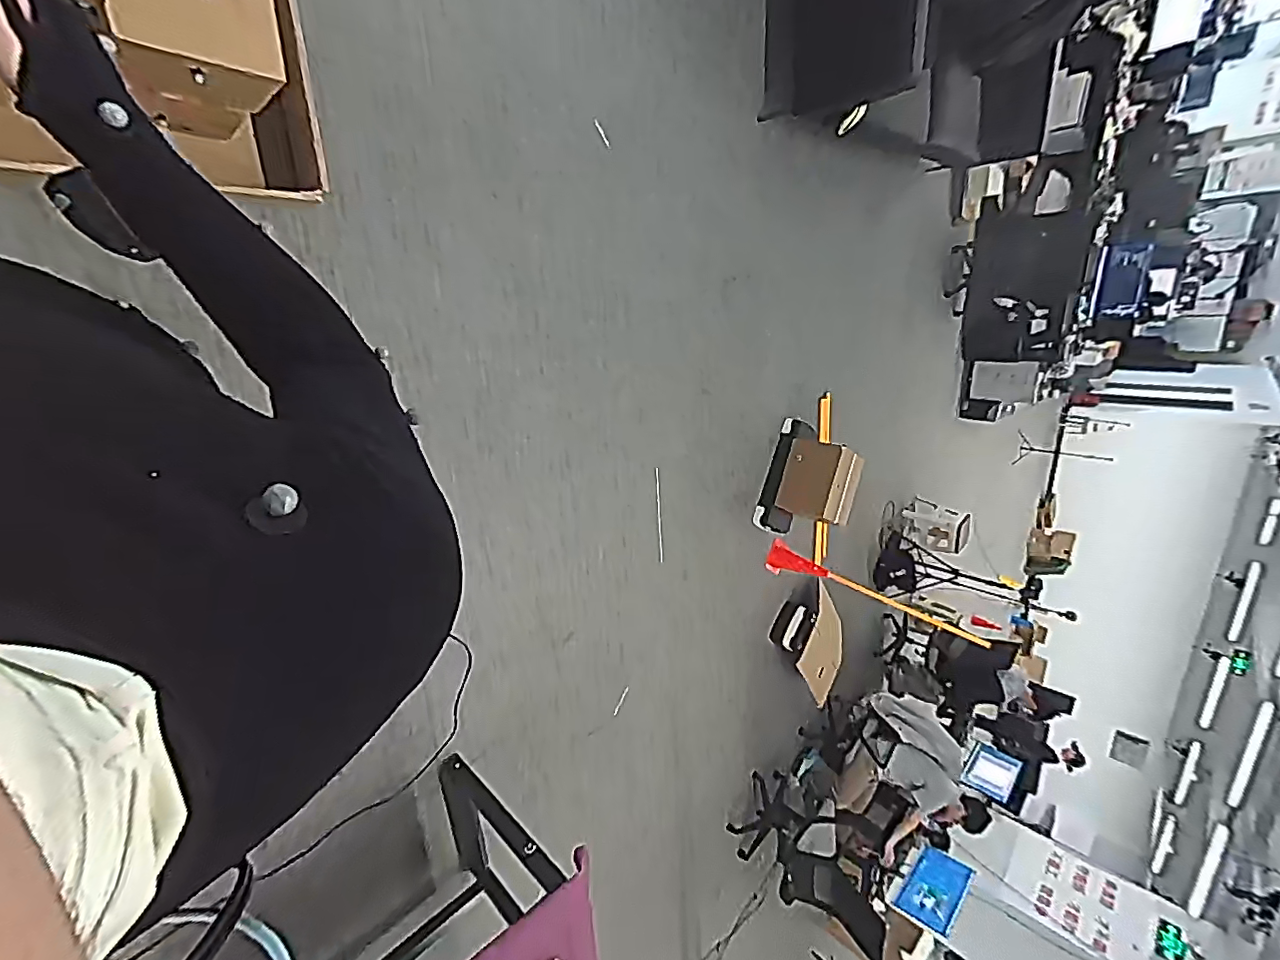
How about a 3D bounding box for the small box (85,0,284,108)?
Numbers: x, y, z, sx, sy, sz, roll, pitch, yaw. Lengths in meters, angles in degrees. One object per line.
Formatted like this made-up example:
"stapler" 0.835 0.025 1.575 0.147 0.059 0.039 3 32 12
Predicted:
"small box" -0.591 -0.606 0.692 0.179 0.176 0.168 -17 114 -44
